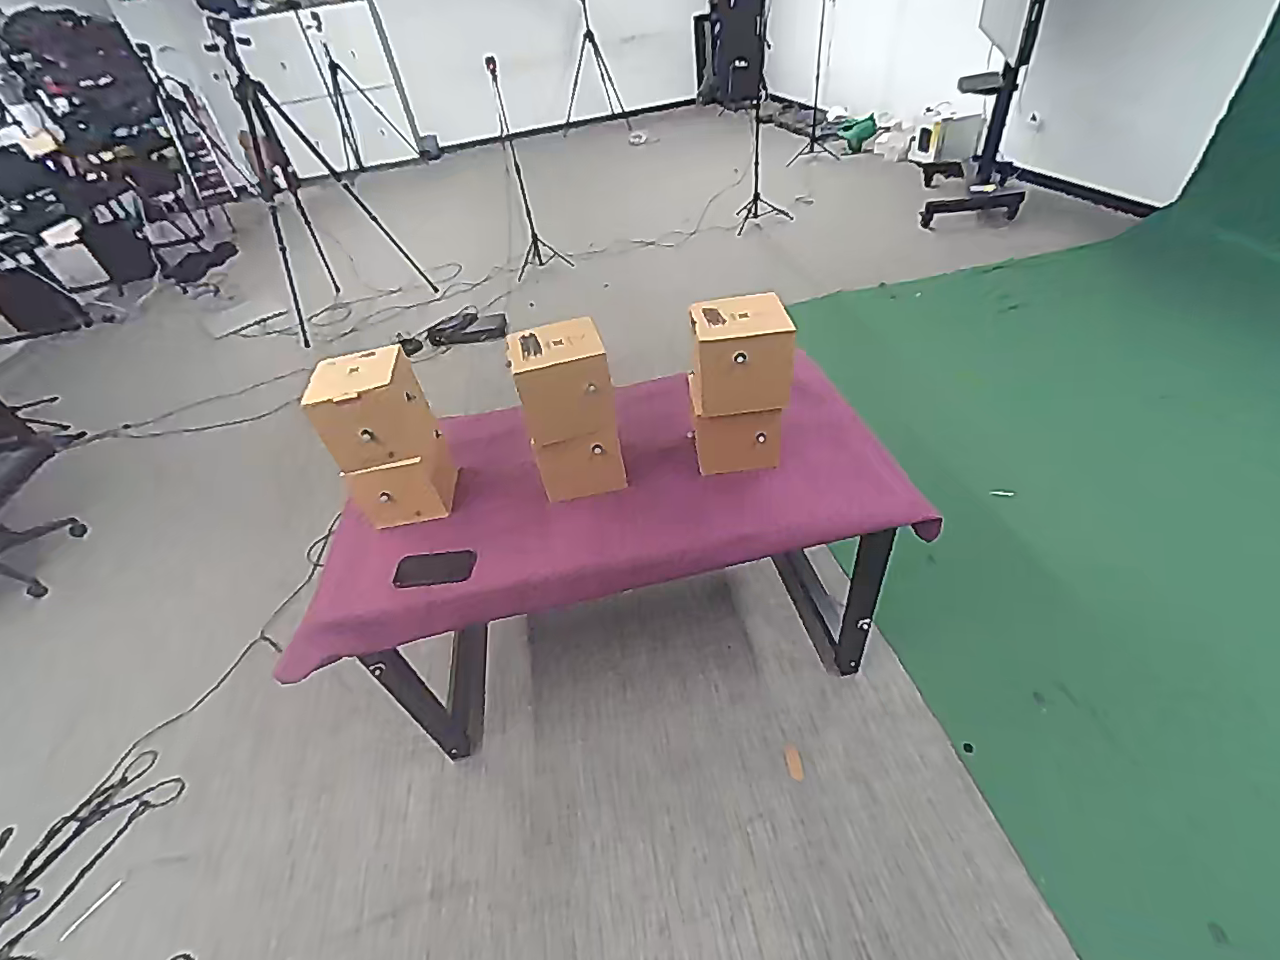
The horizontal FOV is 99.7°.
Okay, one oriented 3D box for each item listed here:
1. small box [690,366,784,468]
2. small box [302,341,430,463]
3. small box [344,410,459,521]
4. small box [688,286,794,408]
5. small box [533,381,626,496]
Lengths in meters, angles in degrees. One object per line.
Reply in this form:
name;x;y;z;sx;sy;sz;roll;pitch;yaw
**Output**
small box;0.207;-0.145;1.181;0.179;0.176;0.168;-7;42;4
small box;-0.539;-0.151;1.094;0.168;0.176;0.179;-14;43;-5
small box;-0.515;-0.025;1.198;0.168;0.176;0.179;-11;42;0
small box;0.195;-0.257;1.061;0.179;0.176;0.168;-7;42;3
small box;-0.129;-0.089;1.187;0.179;0.176;0.168;-12;42;0
